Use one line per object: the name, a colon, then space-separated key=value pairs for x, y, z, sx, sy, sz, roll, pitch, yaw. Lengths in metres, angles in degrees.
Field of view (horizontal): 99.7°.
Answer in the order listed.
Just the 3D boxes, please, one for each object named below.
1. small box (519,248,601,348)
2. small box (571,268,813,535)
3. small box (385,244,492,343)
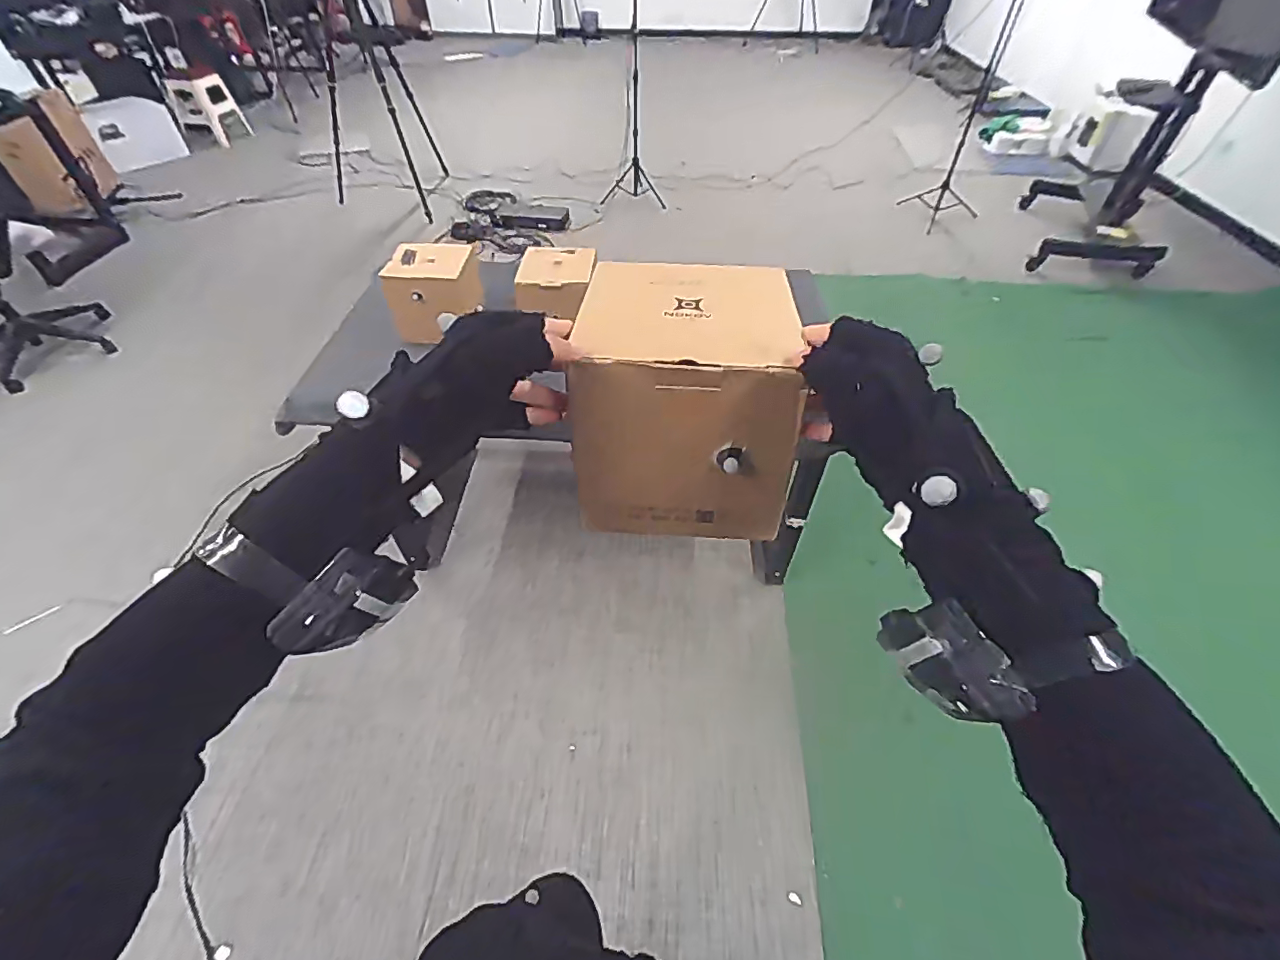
small box: x=-0.176 y=-0.427 z=1.275 sx=0.168 sy=0.176 sz=0.179 roll=2 pitch=48 yaw=2
small box: x=0.040 y=-0.070 z=0.473 sx=0.168 sy=0.176 sz=0.179 roll=3 pitch=41 yaw=2
small box: x=-0.468 y=-0.442 z=1.286 sx=0.179 sy=0.176 sz=0.168 roll=1 pitch=48 yaw=0
